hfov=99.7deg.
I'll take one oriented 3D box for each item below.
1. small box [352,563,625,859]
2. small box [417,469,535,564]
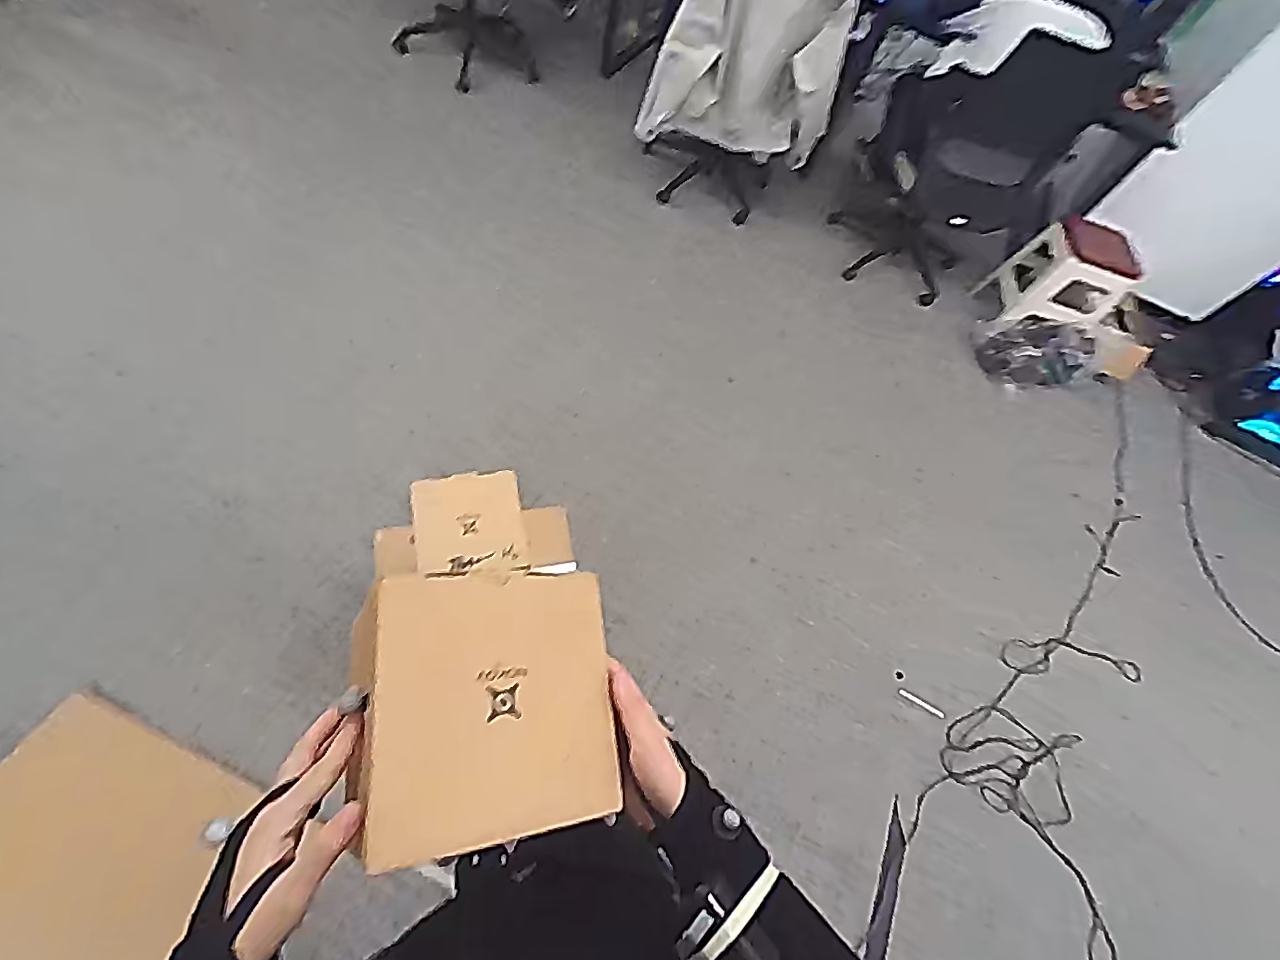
[{"bbox_3d":[-0.132,0.176,0.439,0.168,0.176,0.179,6,62,-31],"label":"small box"},{"bbox_3d":[-0.277,0.104,0.918,0.168,0.176,0.179,-8,63,-17],"label":"small box"}]
